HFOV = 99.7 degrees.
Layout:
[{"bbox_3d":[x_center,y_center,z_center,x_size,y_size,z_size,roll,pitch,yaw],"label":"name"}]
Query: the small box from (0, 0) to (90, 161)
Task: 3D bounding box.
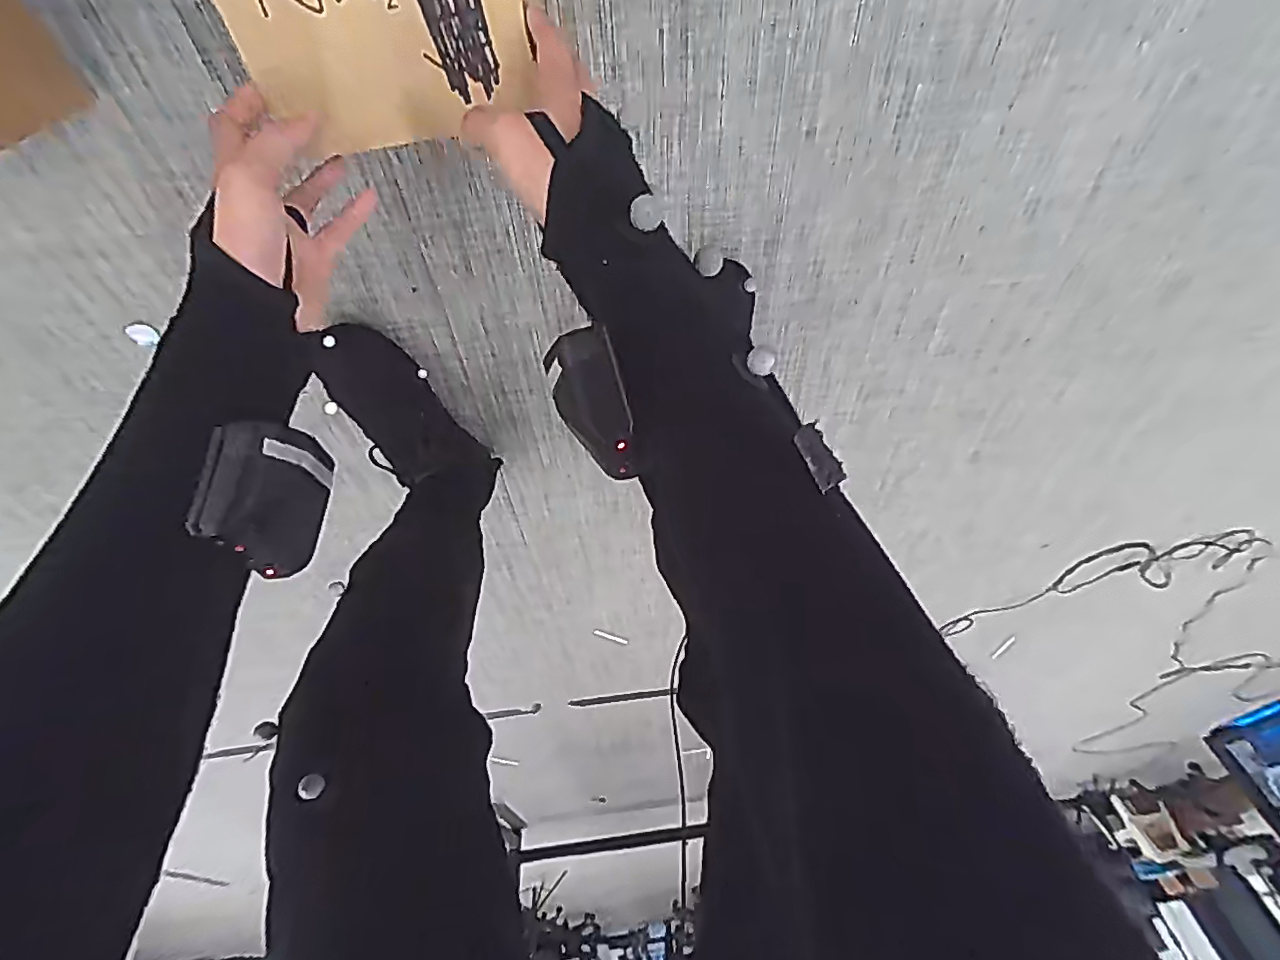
[{"bbox_3d":[-0.541,-0.301,0.345,0.168,0.176,0.179,-9,138,1],"label":"small box"}]
